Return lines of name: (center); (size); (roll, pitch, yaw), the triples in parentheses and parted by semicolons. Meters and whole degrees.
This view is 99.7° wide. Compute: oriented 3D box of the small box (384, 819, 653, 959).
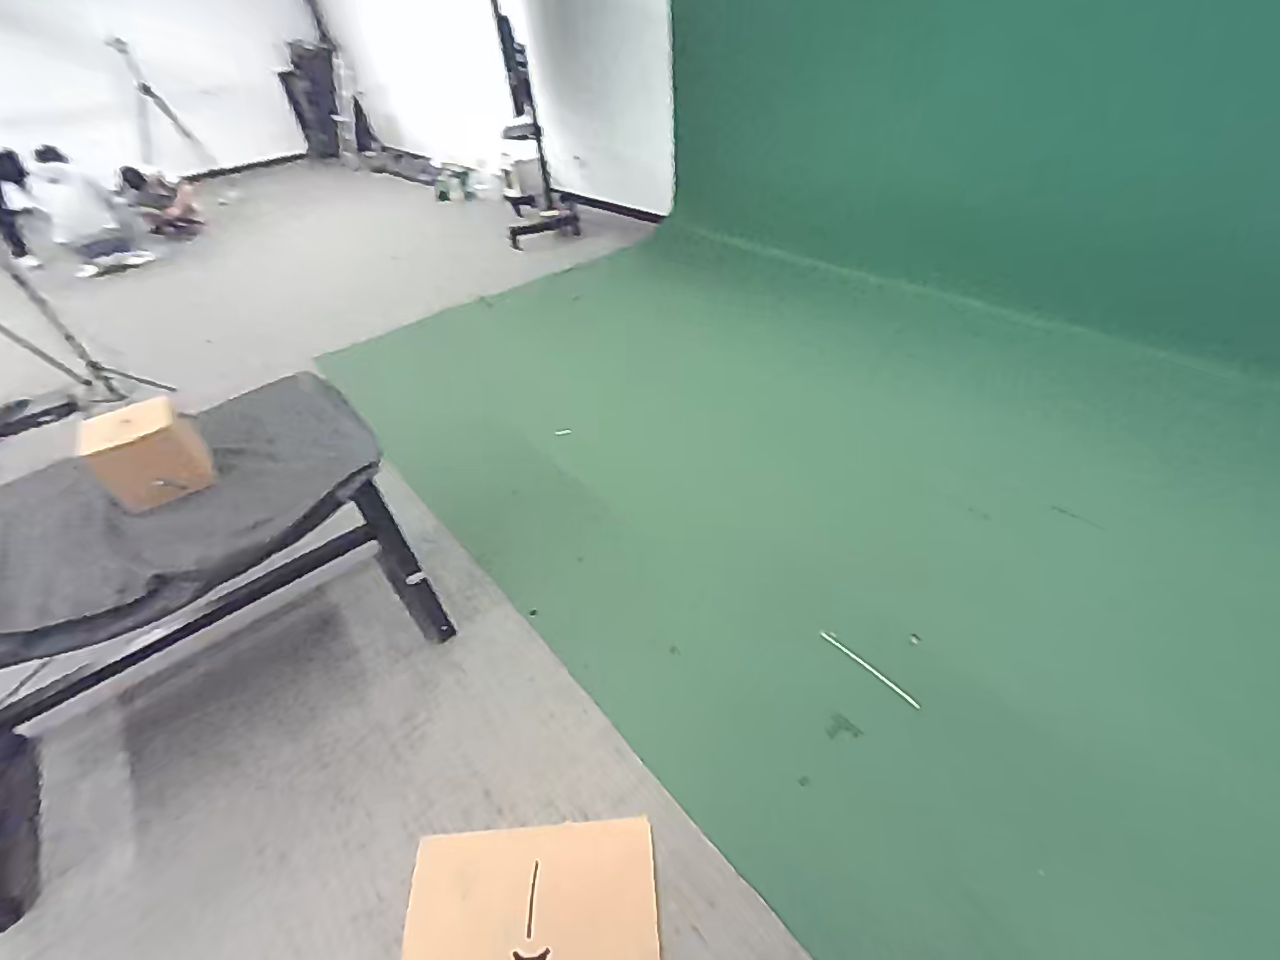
small box: (-0.074, 0.364, 0.388); (0.168, 0.176, 0.179); (-5, 49, -2)

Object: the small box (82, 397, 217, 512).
small box: (-1.106, -0.057, 1.231); (0.168, 0.176, 0.179); (-29, 47, -24)
